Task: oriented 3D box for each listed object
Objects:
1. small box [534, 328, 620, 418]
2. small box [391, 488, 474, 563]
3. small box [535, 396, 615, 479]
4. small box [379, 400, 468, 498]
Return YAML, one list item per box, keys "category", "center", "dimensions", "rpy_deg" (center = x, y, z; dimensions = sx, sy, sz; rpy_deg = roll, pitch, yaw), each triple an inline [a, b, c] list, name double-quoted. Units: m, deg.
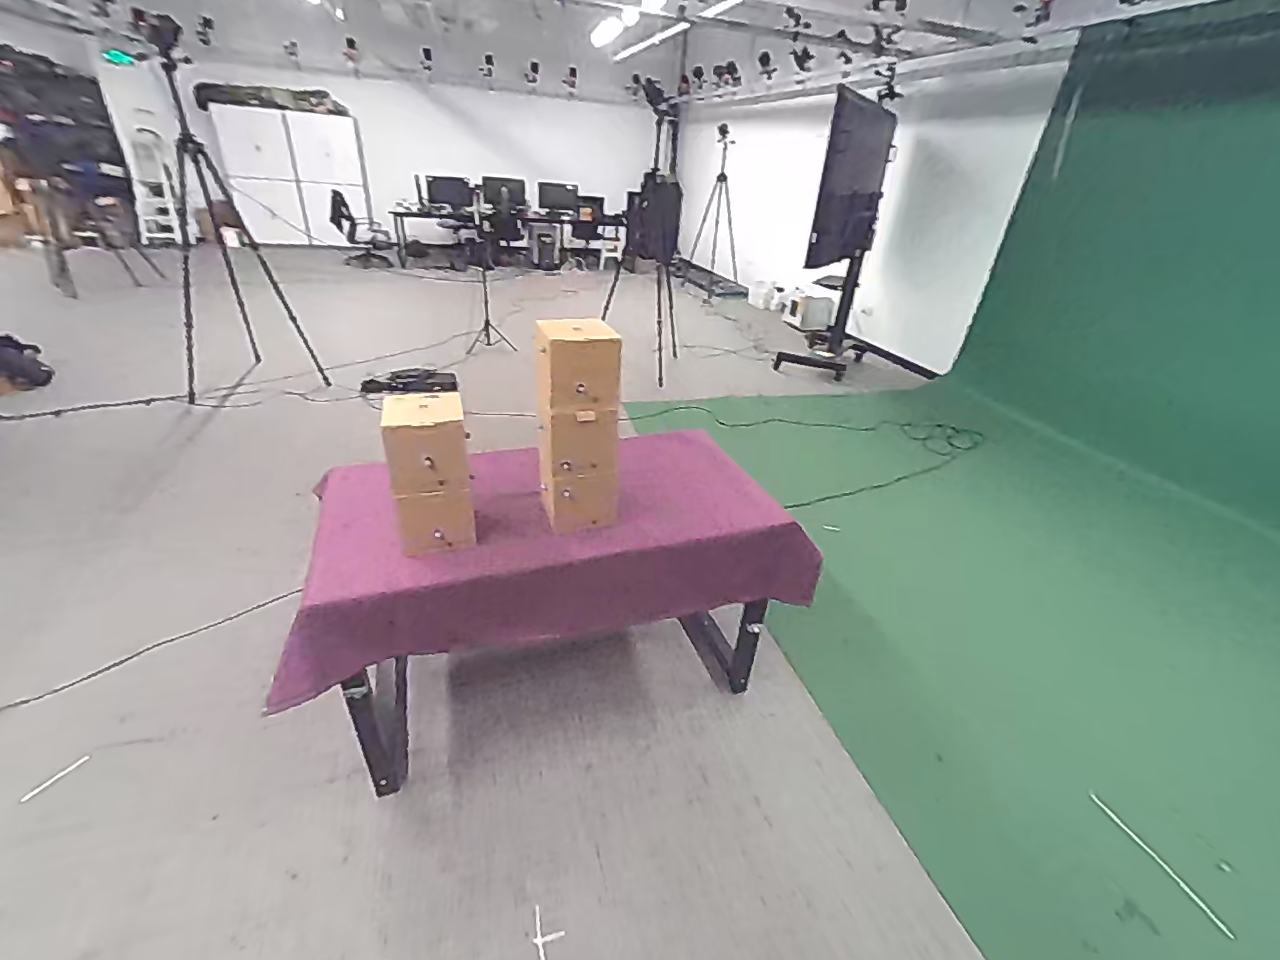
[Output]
- category: "small box"
  center: [-0.155, -0.256, 1.281]
  dimensions: [0.168, 0.176, 0.179]
  rpy_deg: [-7, 31, -20]
- category: "small box"
  center: [-0.498, 0.076, 1.311]
  dimensions: [0.168, 0.176, 0.179]
  rpy_deg: [-7, 31, -18]
- category: "small box"
  center: [-0.164, -0.109, 1.351]
  dimensions: [0.168, 0.176, 0.179]
  rpy_deg: [-7, 30, -19]
- category: "small box"
  center: [-0.489, -0.069, 1.234]
  dimensions: [0.168, 0.176, 0.179]
  rpy_deg: [-6, 31, -19]
